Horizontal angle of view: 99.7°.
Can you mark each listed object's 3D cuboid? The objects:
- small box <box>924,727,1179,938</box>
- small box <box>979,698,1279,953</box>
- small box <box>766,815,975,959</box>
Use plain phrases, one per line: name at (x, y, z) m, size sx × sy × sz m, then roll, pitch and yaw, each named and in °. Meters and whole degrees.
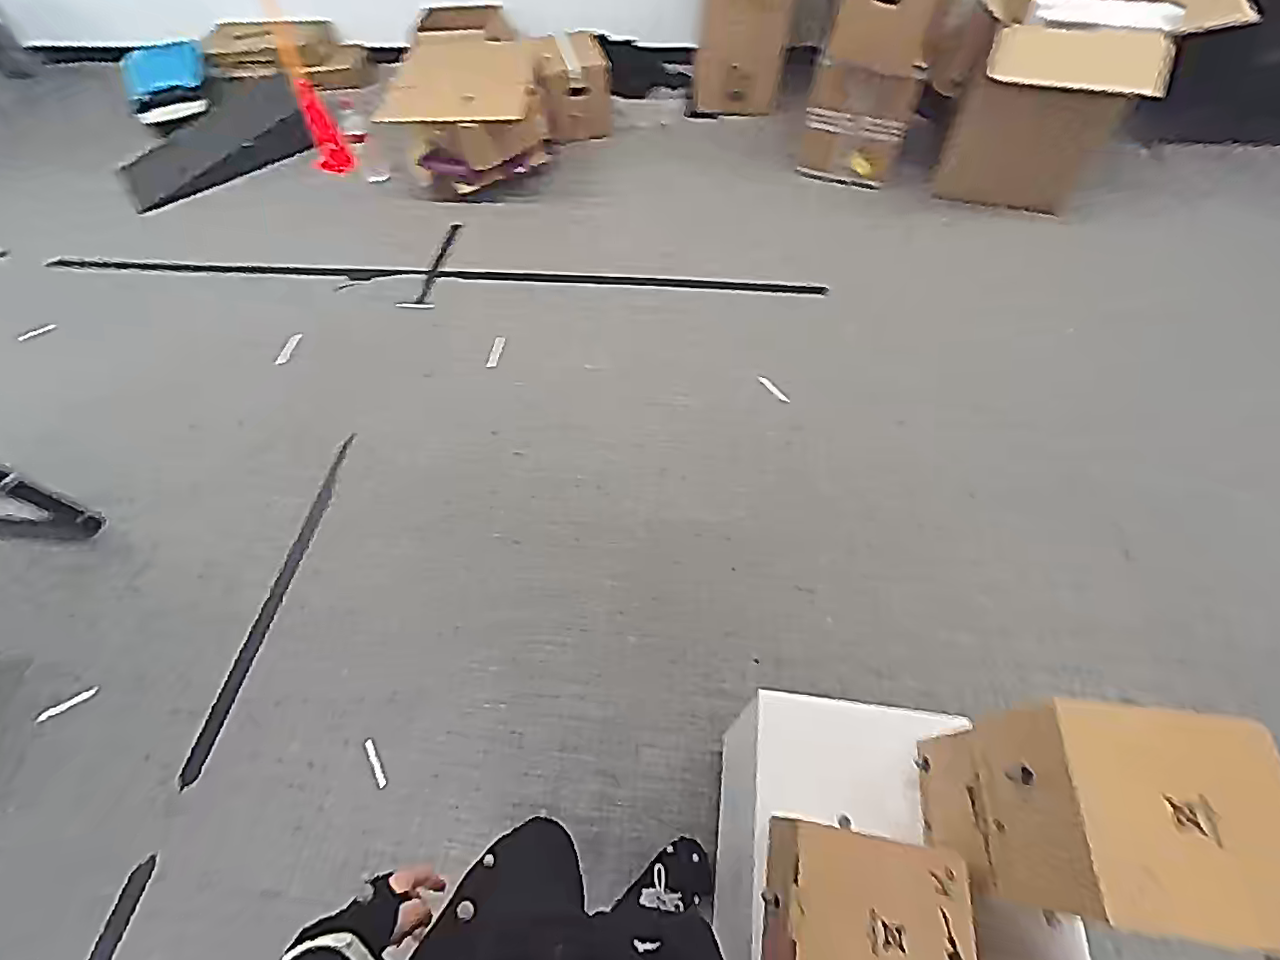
small box at (0.457, 0.406, 0.642) m, size 0.179 × 0.176 × 0.168 m, roll 7°, pitch 60°, yaw 7°
small box at (0.450, 0.315, 0.507) m, size 0.179 × 0.176 × 0.168 m, roll 5°, pitch 60°, yaw 6°
small box at (0.242, 0.488, 0.601) m, size 0.179 × 0.176 × 0.168 m, roll 9°, pitch 60°, yaw 7°
